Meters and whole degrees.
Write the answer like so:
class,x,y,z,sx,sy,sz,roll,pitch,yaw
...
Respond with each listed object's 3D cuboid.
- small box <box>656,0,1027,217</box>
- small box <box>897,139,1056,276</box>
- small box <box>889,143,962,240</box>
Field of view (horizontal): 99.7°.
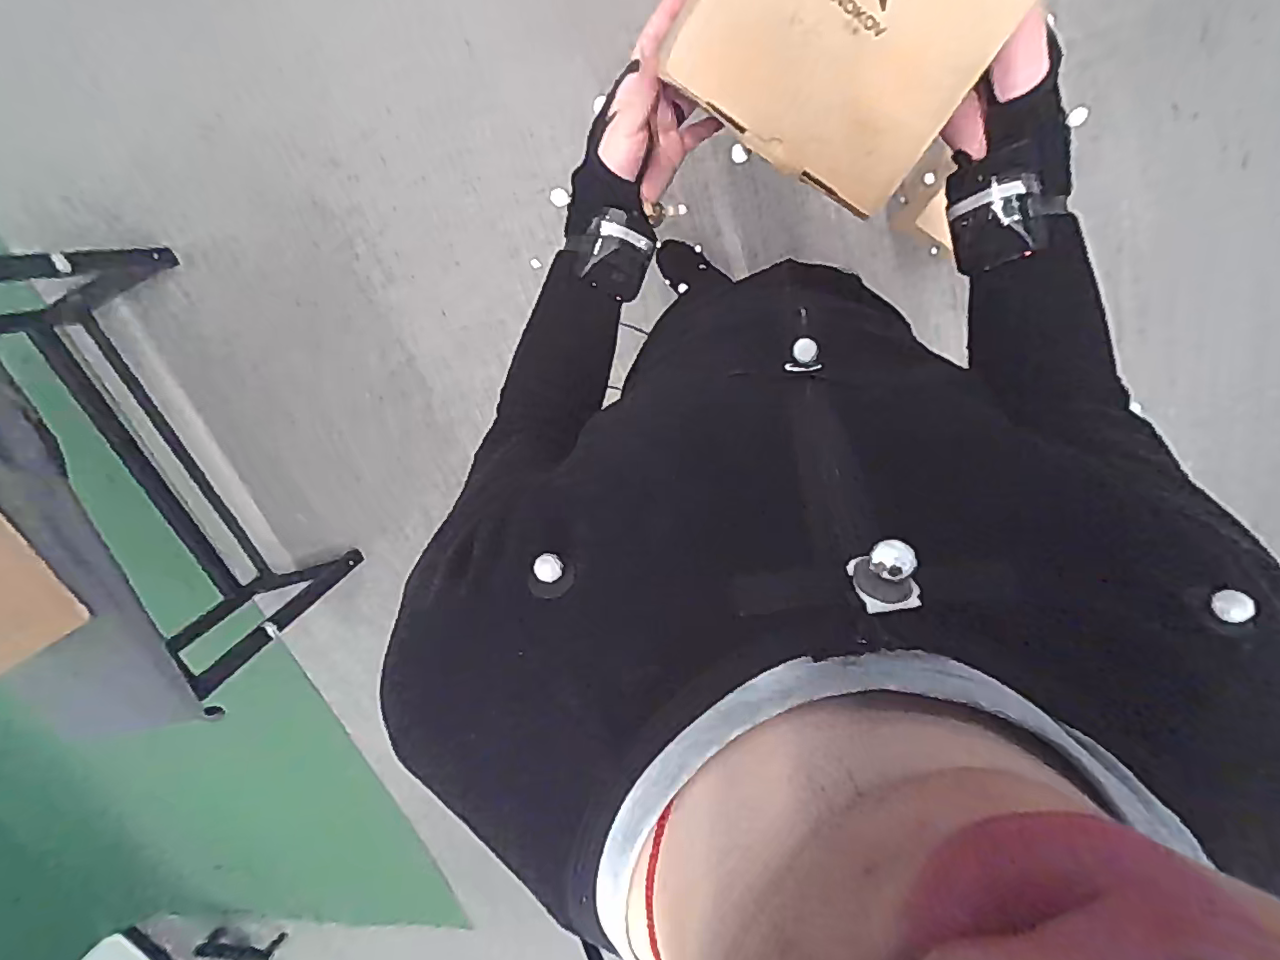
class,x,y,z,sx,sy,sz,roll,pitch,yaw
small box,0.122,-0.317,0.363,0.168,0.176,0.179,23,124,-18
small box,0.641,-0.527,1.055,0.179,0.176,0.168,33,117,-3
small box,0.682,-0.609,1.192,0.179,0.176,0.168,25,118,-1
